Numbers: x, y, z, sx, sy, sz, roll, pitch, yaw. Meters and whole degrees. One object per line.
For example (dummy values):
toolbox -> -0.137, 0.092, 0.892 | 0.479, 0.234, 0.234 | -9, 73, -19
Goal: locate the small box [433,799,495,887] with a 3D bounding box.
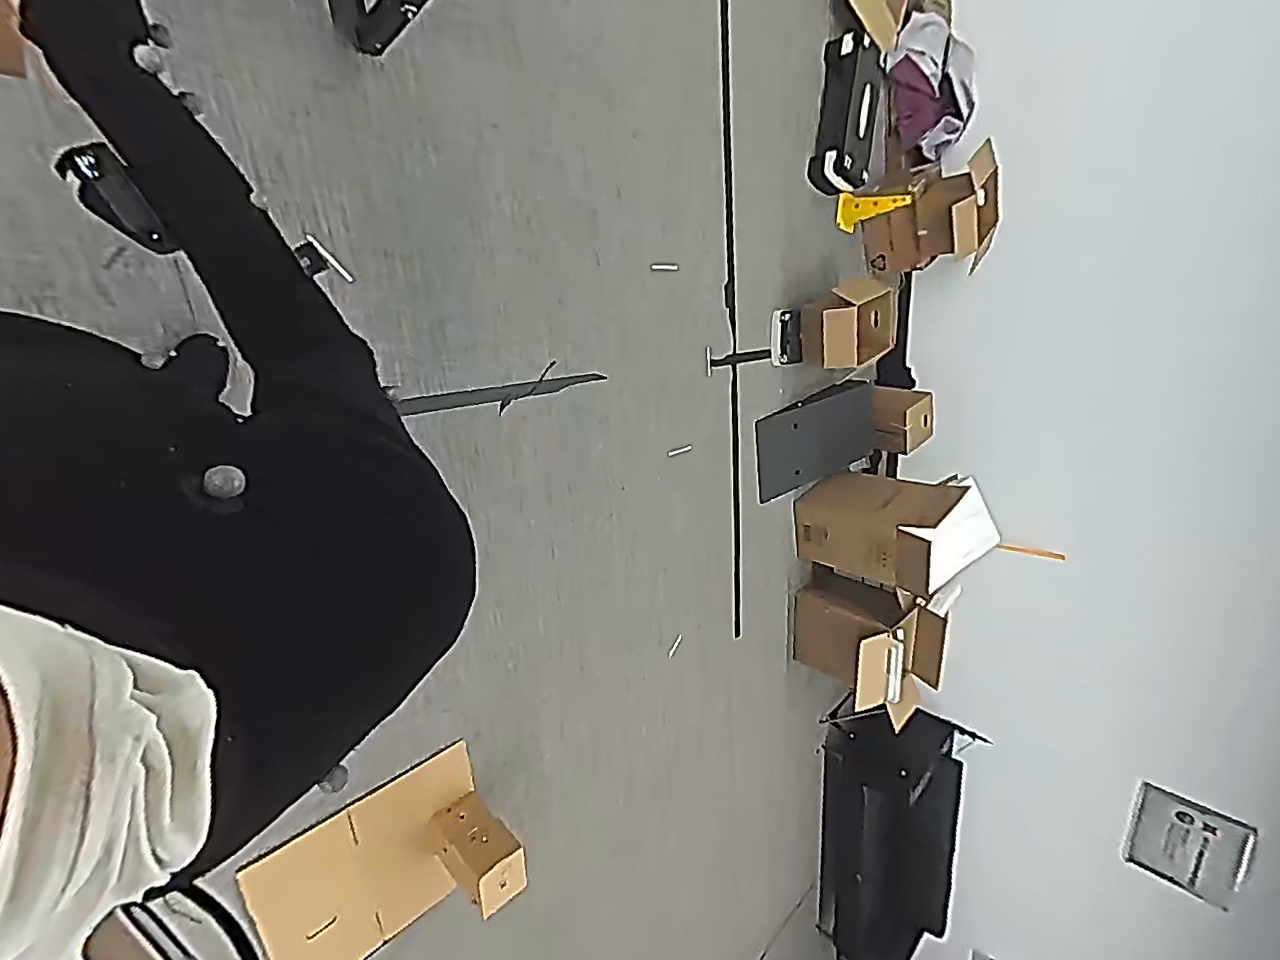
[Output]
small box -> -0.624, 1.284, 1.935 | 0.168, 0.176, 0.179 | -16, 110, -41

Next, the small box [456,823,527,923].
small box -> -0.502, 1.317, 1.827 | 0.168, 0.176, 0.179 | -15, 110, -43
